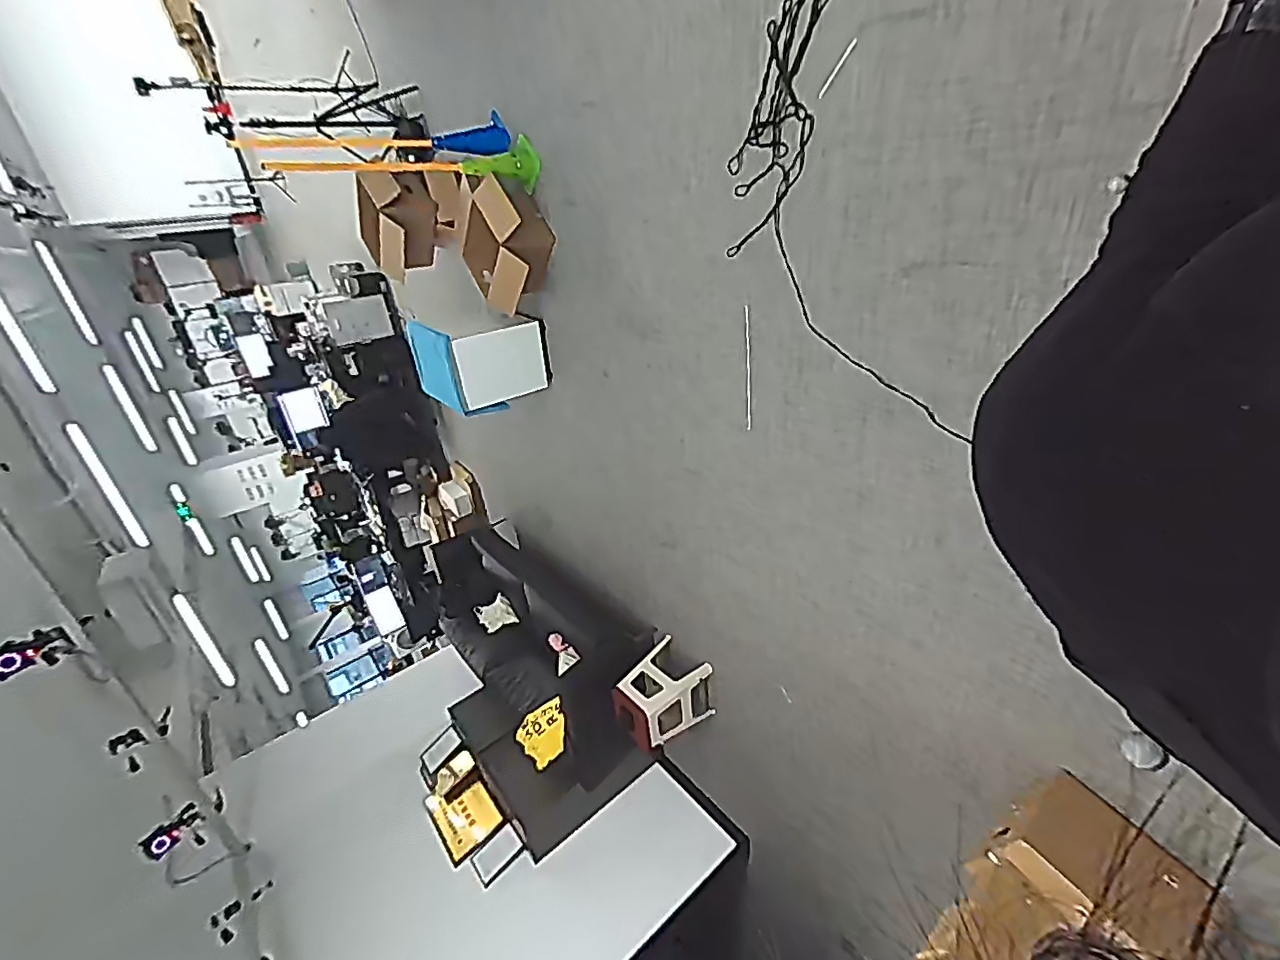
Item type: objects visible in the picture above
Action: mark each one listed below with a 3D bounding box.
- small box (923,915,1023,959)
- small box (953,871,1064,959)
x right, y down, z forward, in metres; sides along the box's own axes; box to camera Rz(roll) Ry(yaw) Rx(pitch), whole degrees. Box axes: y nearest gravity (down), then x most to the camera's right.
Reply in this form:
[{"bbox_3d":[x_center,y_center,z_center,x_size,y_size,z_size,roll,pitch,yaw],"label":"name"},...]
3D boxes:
[{"bbox_3d":[0.871,1.271,1.395,0.179,0.176,0.168,43,143,31],"label":"small box"},{"bbox_3d":[1.002,1.217,1.474,0.168,0.176,0.179,42,142,32],"label":"small box"}]
